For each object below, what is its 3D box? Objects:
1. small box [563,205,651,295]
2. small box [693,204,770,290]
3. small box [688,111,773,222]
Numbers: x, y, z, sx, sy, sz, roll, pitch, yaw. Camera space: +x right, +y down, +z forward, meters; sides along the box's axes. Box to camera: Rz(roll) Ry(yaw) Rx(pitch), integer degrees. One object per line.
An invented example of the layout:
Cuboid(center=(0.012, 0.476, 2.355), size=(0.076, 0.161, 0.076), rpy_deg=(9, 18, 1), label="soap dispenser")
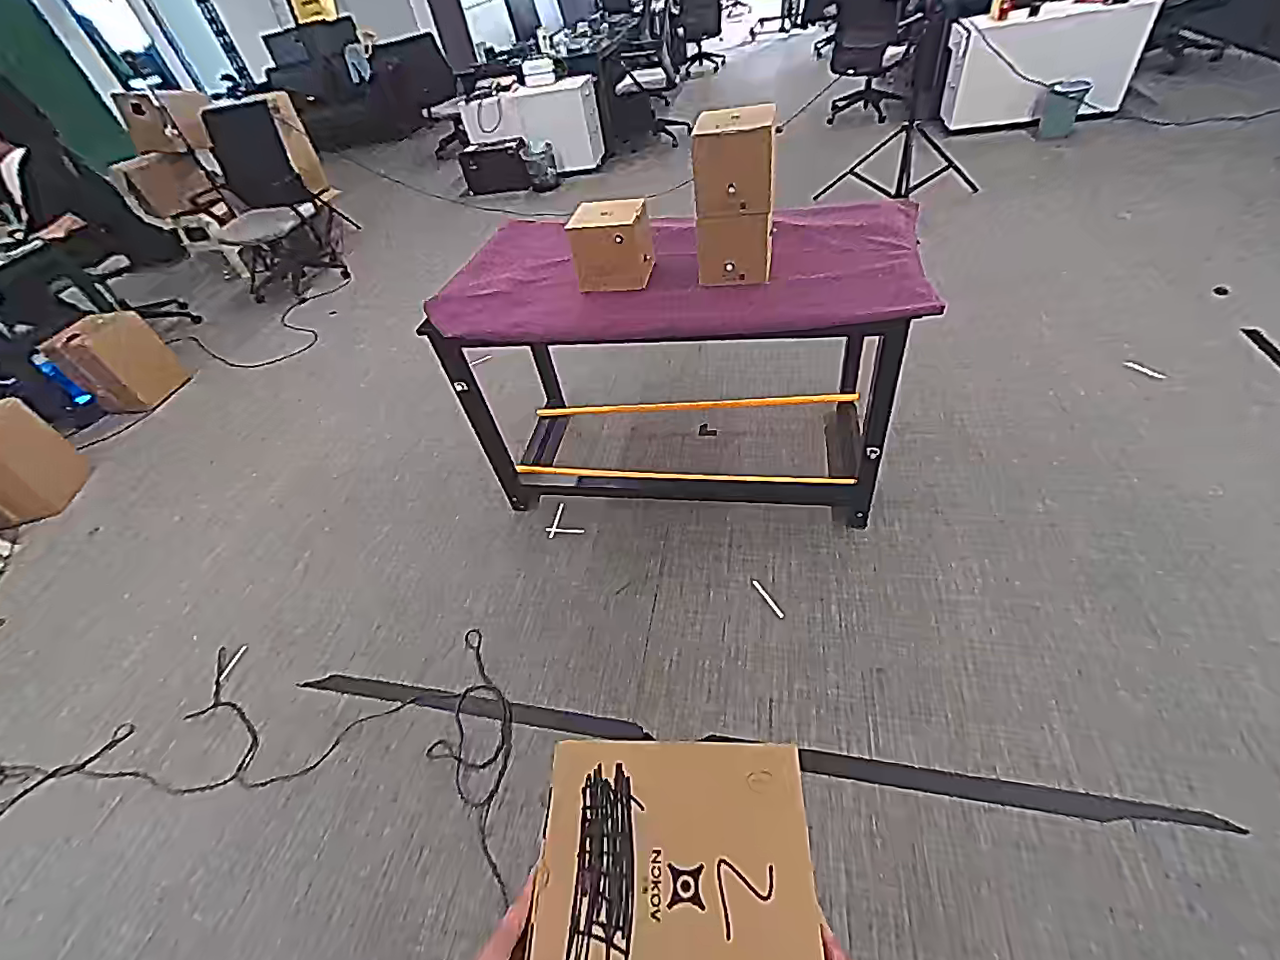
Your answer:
Cuboid(center=(-0.077, -0.592, 1.402), size=(0.179, 0.176, 0.168), rpy_deg=(2, 46, 13), label="small box")
Cuboid(center=(0.228, -0.585, 1.329), size=(0.168, 0.176, 0.179), rpy_deg=(3, 47, 15), label="small box")
Cuboid(center=(0.208, -0.699, 1.211), size=(0.168, 0.176, 0.179), rpy_deg=(2, 47, 15), label="small box")
